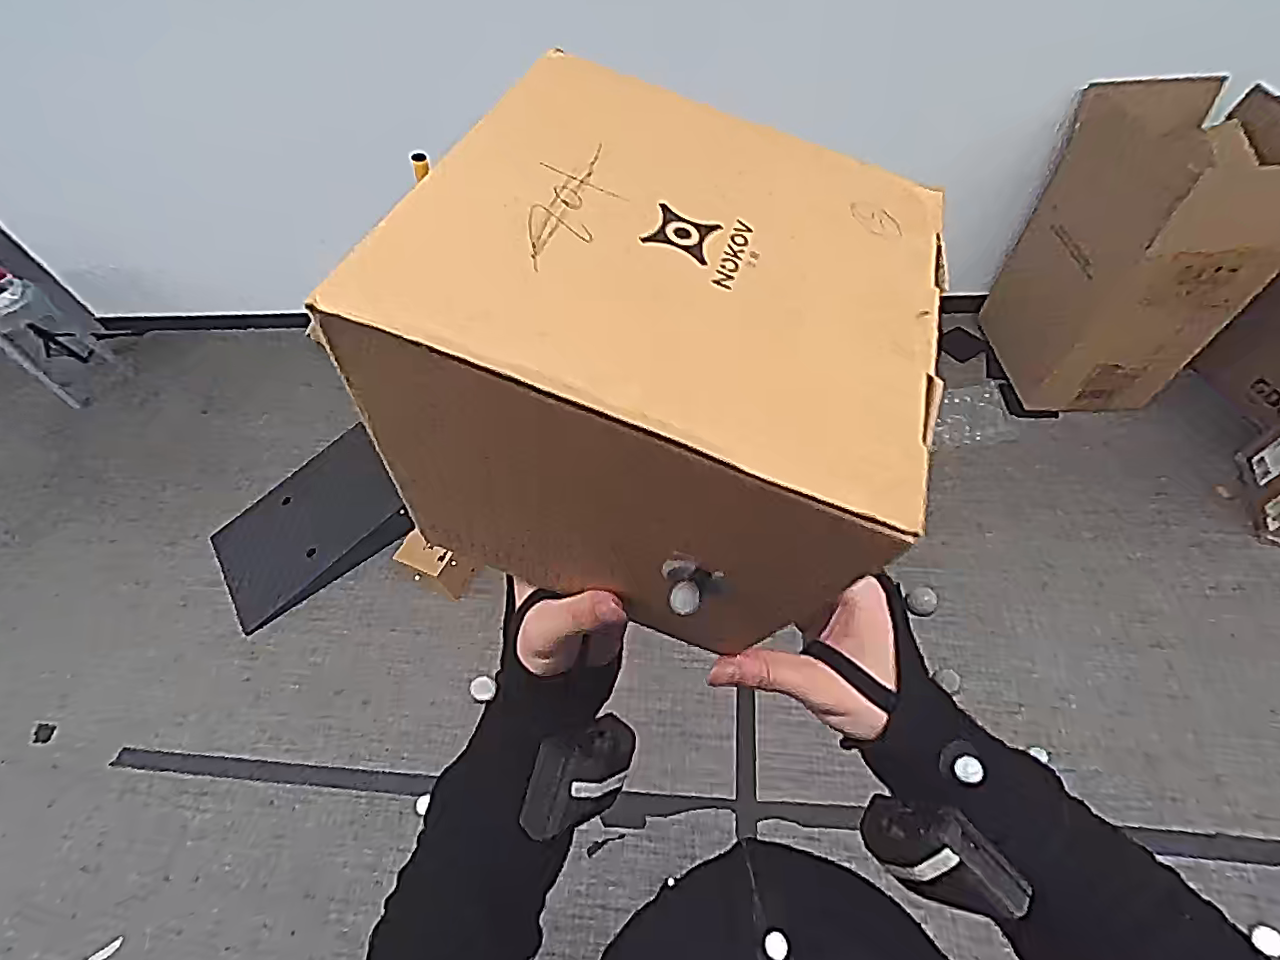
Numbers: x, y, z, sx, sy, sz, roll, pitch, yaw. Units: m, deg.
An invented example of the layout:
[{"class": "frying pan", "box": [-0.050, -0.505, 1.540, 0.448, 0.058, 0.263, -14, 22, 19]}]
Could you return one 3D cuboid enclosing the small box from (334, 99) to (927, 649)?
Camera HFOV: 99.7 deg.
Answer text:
[{"class": "small box", "box": [0.004, -0.032, 0.263, 0.179, 0.176, 0.168, 21, 59, 2]}]
